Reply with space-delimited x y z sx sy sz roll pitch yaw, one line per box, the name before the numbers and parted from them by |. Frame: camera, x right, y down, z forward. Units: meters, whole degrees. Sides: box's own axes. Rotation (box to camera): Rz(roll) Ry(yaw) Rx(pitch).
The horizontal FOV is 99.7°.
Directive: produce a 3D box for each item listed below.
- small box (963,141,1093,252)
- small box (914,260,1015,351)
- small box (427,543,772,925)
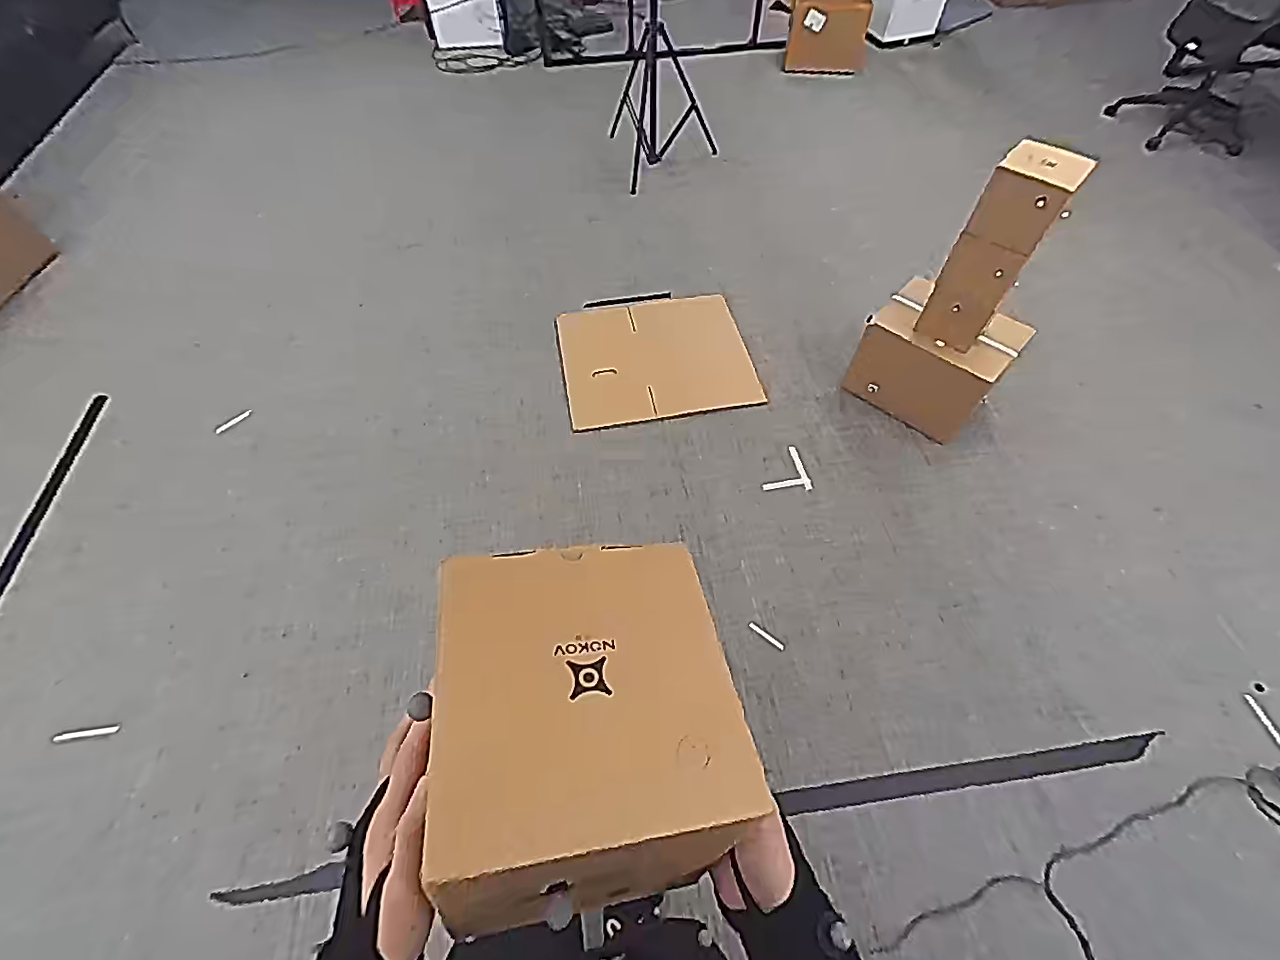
small box | 0.951 -0.694 1.337 0.179 0.176 0.168 36 64 22
small box | 0.959 -0.516 1.614 0.179 0.176 0.168 36 65 21
small box | -0.039 0.166 0.359 0.168 0.176 0.179 -2 44 -15
